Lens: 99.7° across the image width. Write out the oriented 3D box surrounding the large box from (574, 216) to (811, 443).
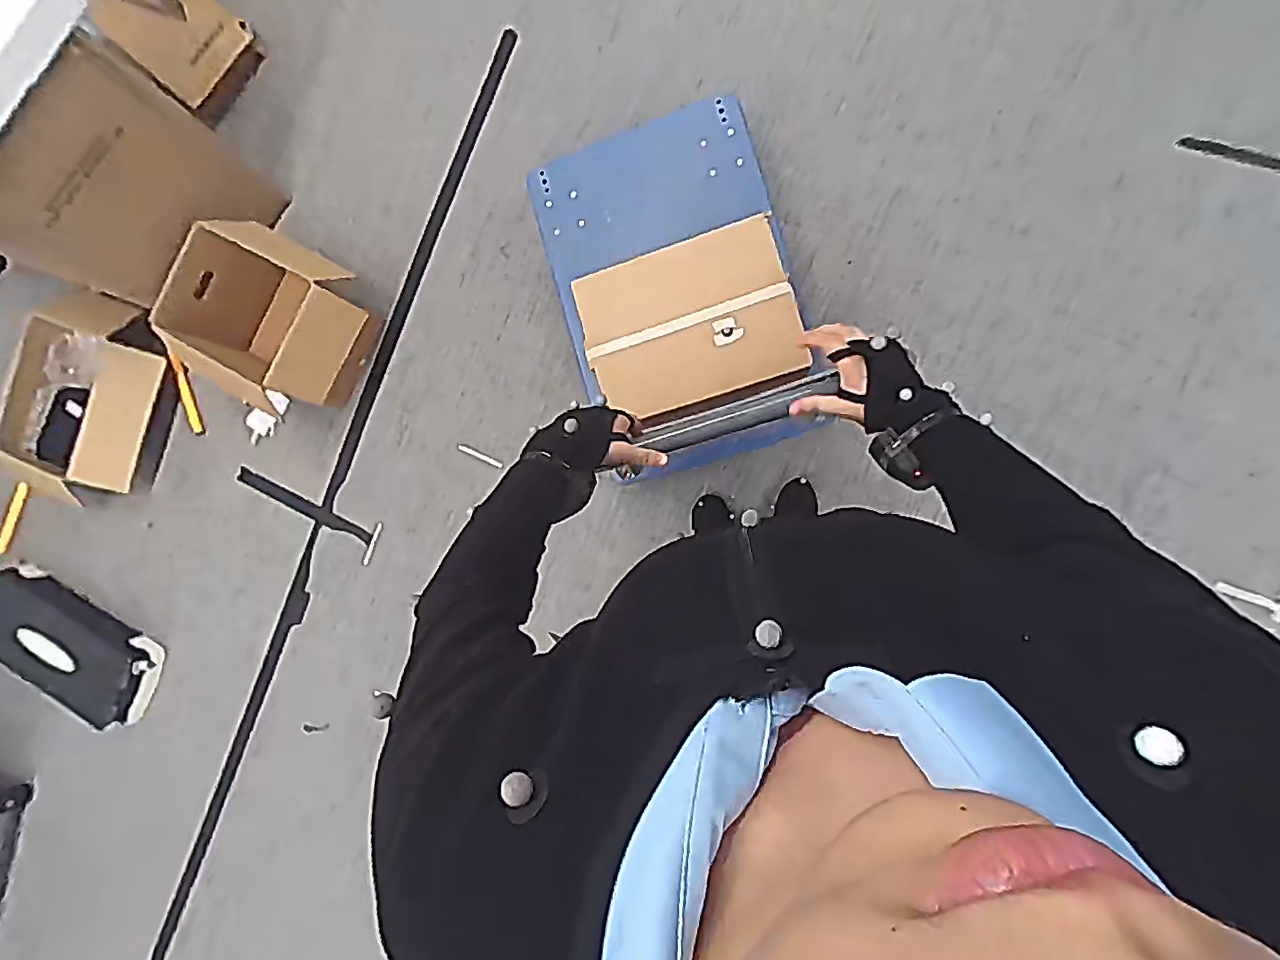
[{"bbox_3d":[0.114,-0.300,1.201,0.408,0.320,0.320,-17,86,7],"label":"large box"}]
